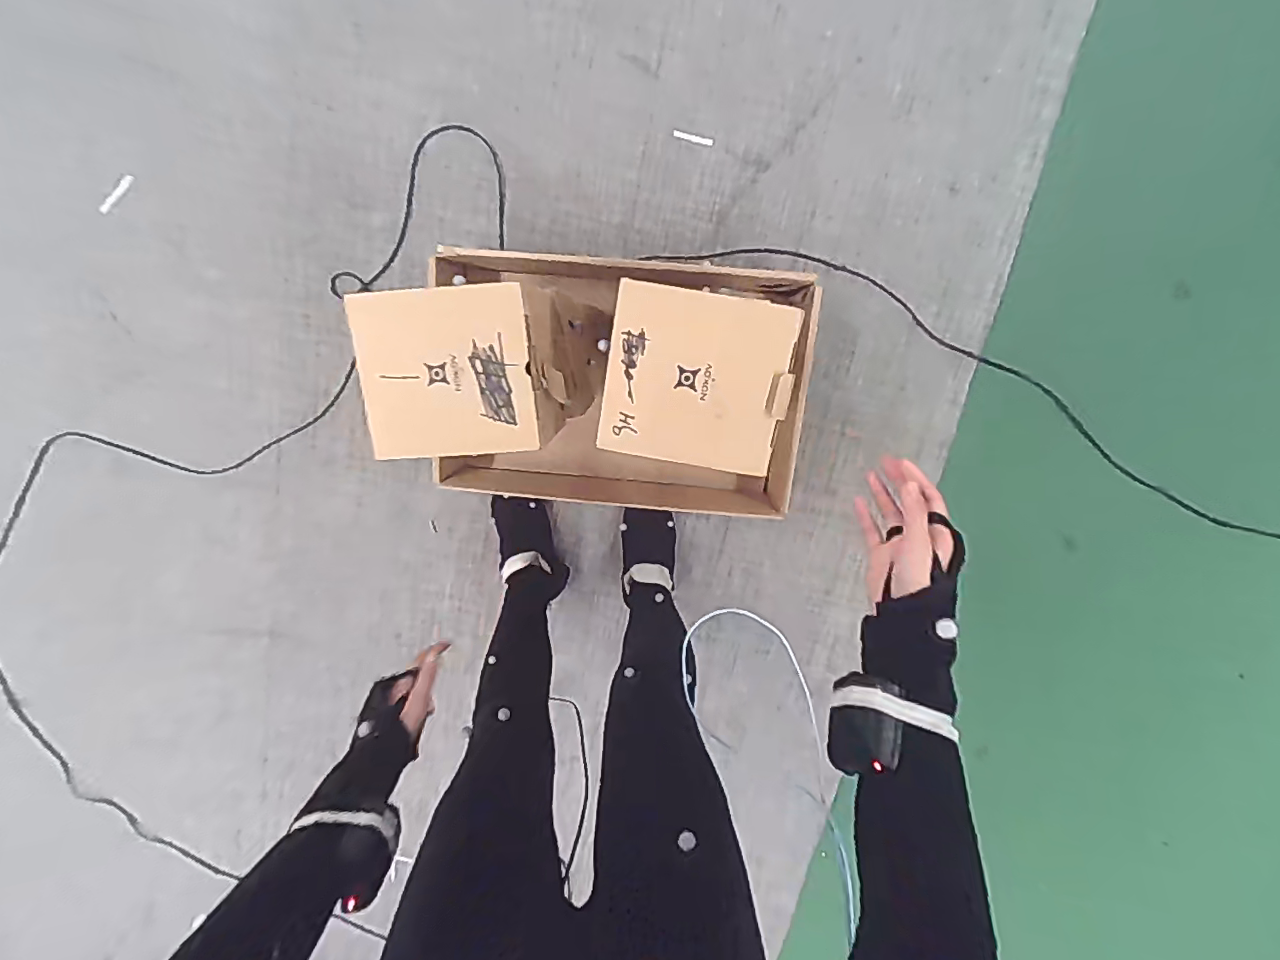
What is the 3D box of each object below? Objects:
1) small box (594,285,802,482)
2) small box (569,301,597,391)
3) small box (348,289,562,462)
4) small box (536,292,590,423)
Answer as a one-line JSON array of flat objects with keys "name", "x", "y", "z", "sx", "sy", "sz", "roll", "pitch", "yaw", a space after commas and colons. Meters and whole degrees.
[{"name": "small box", "x": 0.058, "y": -0.110, "z": 0.600, "sx": 0.179, "sy": 0.176, "sz": 0.168, "roll": 11, "pitch": 104, "yaw": 1}, {"name": "small box", "x": -0.174, "y": -0.222, "z": 0.926, "sx": 0.179, "sy": 0.176, "sz": 0.168, "roll": 5, "pitch": 105, "yaw": -1}, {"name": "small box", "x": -0.189, "y": -0.122, "z": 0.615, "sx": 0.179, "sy": 0.176, "sz": 0.168, "roll": -3, "pitch": 104, "yaw": 3}, {"name": "small box", "x": -0.173, "y": -0.165, "z": 0.773, "sx": 0.179, "sy": 0.176, "sz": 0.168, "roll": -10, "pitch": 104, "yaw": 4}]
